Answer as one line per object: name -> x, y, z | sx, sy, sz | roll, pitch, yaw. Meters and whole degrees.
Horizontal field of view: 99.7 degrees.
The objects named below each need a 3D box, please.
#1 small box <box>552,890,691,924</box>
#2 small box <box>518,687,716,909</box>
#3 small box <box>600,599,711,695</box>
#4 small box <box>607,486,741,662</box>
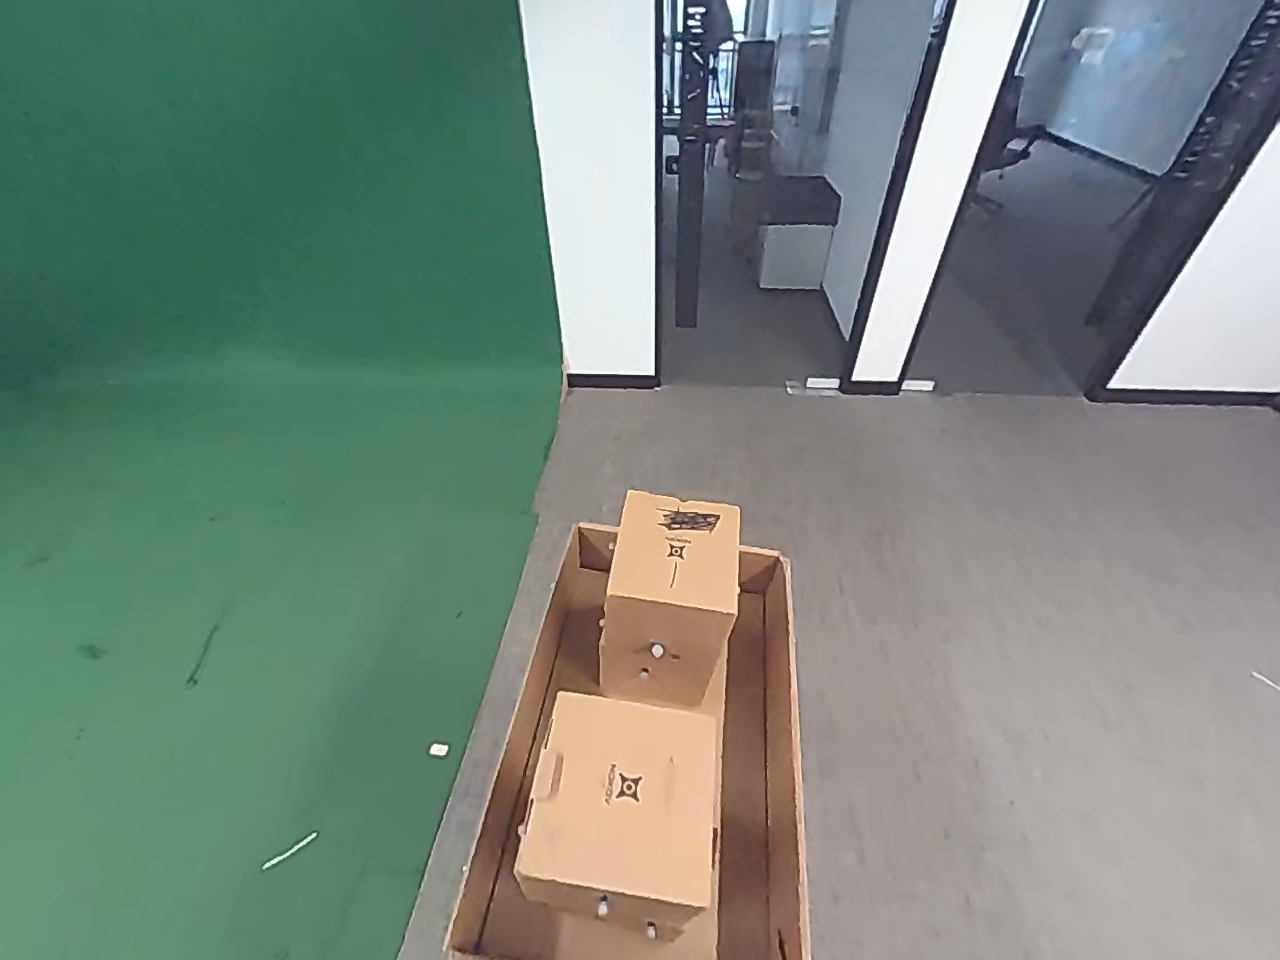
small box -> -0.019, 0.458, 0.711 | 0.179, 0.176, 0.168 | 11, 47, 5
small box -> -0.019, 0.350, 0.590 | 0.179, 0.176, 0.168 | 8, 48, 1
small box -> 0.035, 0.243, 0.908 | 0.179, 0.176, 0.168 | 9, 49, 4
small box -> 0.046, 0.138, 0.783 | 0.168, 0.176, 0.179 | 8, 49, 3
